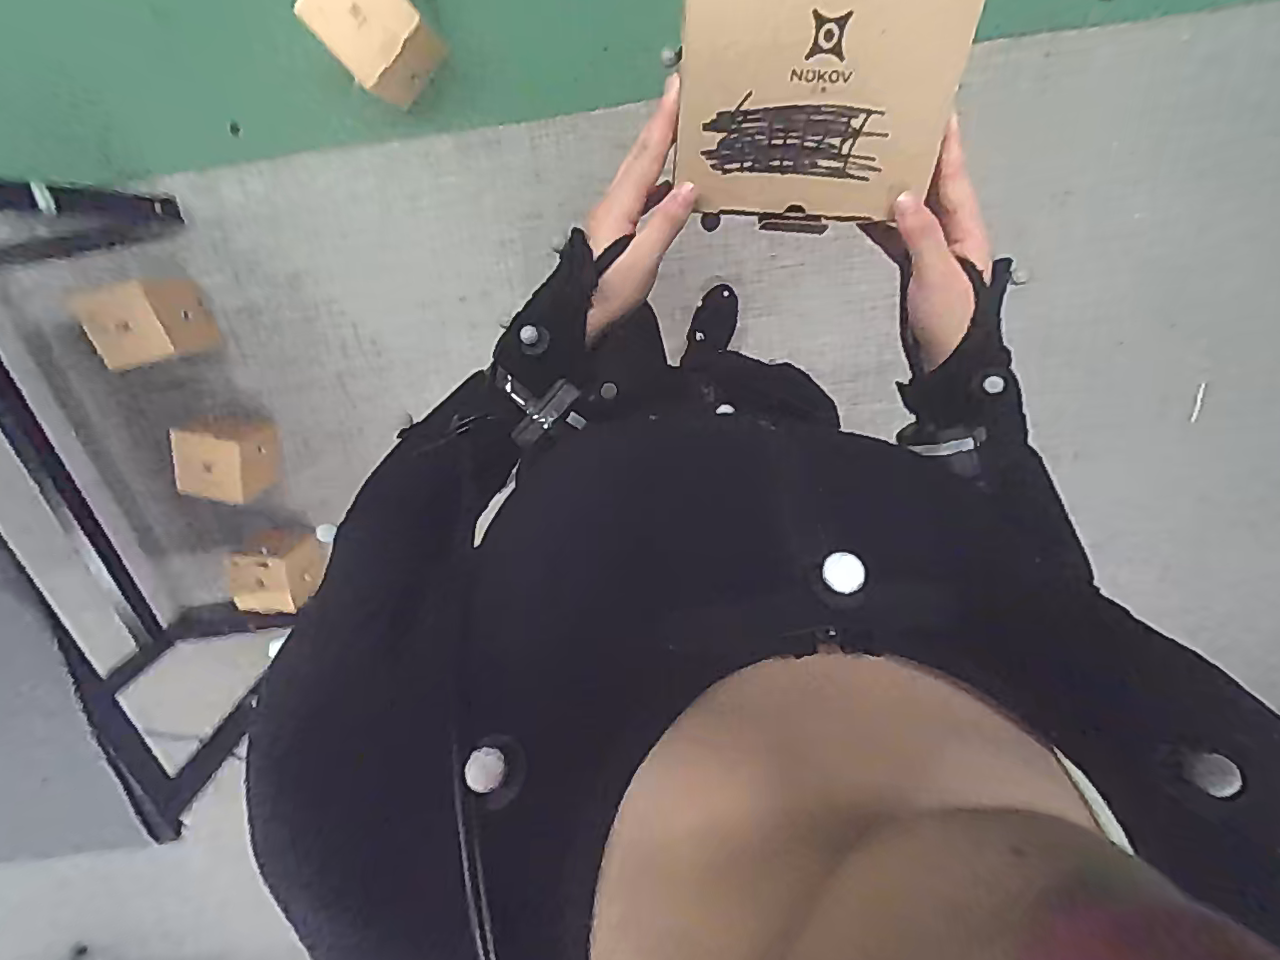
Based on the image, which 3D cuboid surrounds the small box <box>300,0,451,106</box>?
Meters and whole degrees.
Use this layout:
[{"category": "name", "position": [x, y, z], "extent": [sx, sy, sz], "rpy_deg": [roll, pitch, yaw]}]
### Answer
[{"category": "small box", "position": [-0.512, -0.891, 1.073], "extent": [0.168, 0.176, 0.179], "rpy_deg": [-41, 108, 15]}]

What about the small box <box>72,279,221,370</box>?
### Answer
[{"category": "small box", "position": [-1.153, -0.376, 1.288], "extent": [0.179, 0.176, 0.168], "rpy_deg": [-12, 112, 5]}]

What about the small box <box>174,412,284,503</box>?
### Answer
[{"category": "small box", "position": [-1.070, -0.065, 1.423], "extent": [0.168, 0.176, 0.179], "rpy_deg": [12, 114, -4]}]

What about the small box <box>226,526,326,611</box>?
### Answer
[{"category": "small box", "position": [-1.037, 0.253, 1.559], "extent": [0.168, 0.176, 0.179], "rpy_deg": [4, 114, -2]}]
